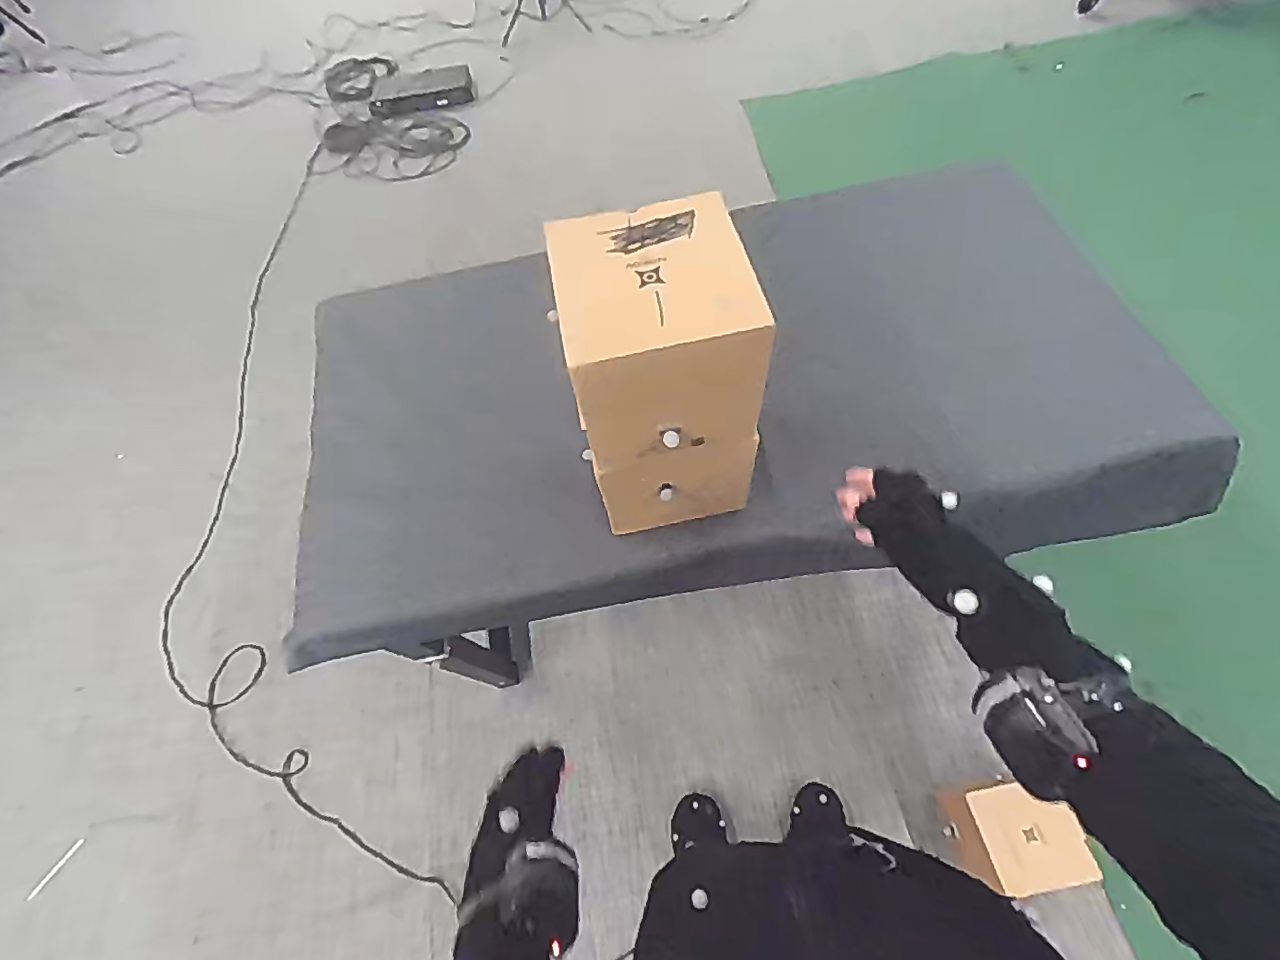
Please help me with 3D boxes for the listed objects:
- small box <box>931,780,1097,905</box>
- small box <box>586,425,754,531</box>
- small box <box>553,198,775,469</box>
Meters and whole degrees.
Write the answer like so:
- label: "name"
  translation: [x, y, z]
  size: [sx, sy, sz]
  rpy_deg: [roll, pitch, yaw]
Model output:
- label: "small box"
  translation: [0.705, 0.687, 1.044]
  size: [0.179, 0.176, 0.168]
  rpy_deg: [-12, 61, 1]
- label: "small box"
  translation: [0.031, -0.052, 0.669]
  size: [0.179, 0.176, 0.168]
  rpy_deg: [-12, 61, 0]
- label: "small box"
  translation: [0.018, -0.135, 0.527]
  size: [0.168, 0.176, 0.179]
  rpy_deg: [-11, 61, 0]
